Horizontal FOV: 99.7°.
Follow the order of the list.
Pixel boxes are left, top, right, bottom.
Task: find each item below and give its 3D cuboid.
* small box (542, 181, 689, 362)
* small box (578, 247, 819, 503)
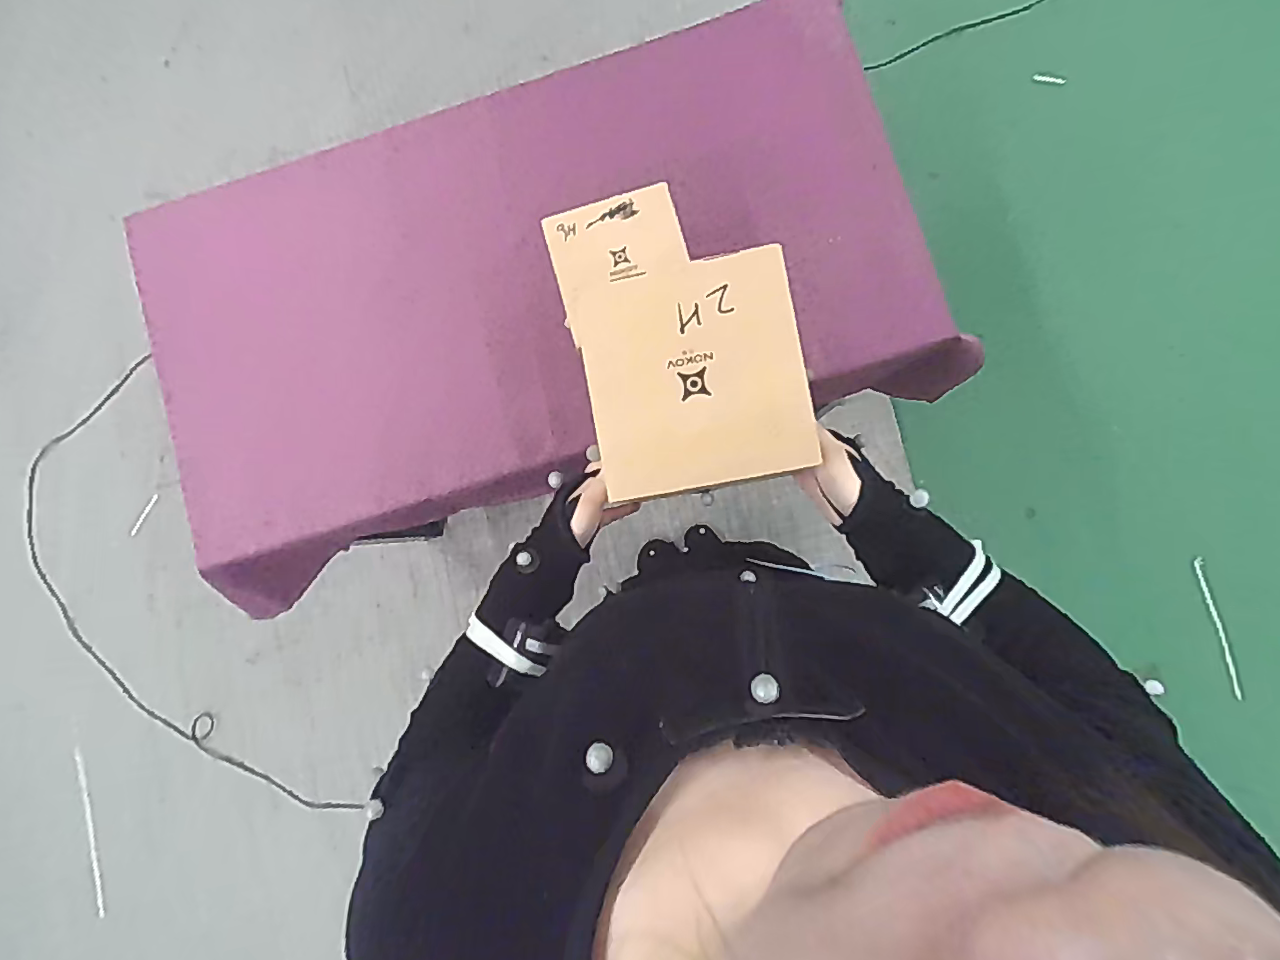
[{"bbox_3d":[-0.018,-0.263,0.746,0.168,0.176,0.179,-16,86,2],"label":"small box"},{"bbox_3d":[0.052,-0.079,0.495,0.168,0.176,0.179,-10,87,5],"label":"small box"}]
